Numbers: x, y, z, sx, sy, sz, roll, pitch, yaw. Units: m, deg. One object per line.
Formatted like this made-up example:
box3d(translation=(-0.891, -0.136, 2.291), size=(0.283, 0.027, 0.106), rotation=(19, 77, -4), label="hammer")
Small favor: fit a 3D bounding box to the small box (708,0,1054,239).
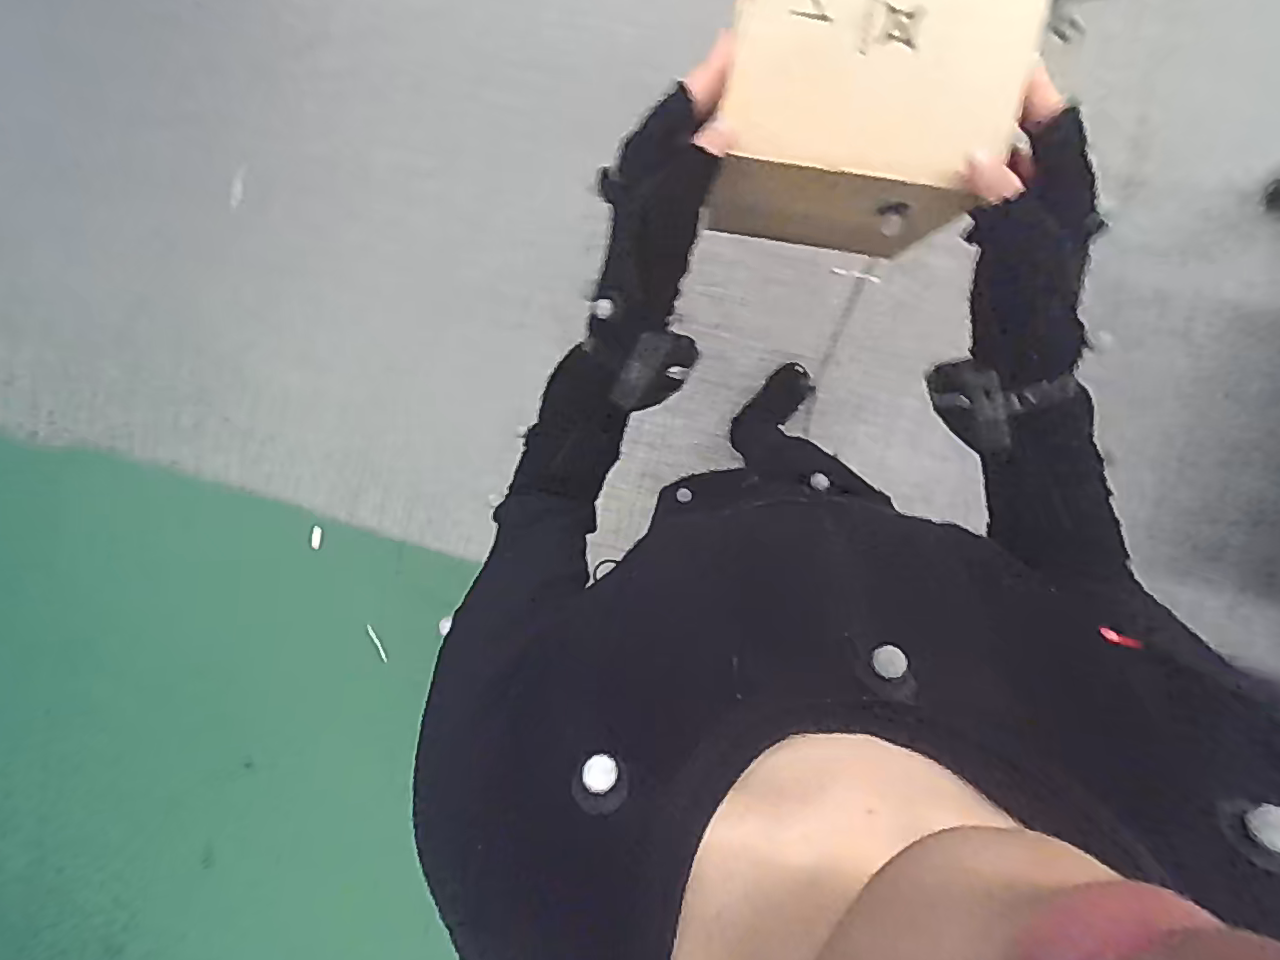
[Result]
box3d(translation=(0.151, -0.286, 0.386), size=(0.179, 0.176, 0.168), rotation=(11, 101, 4), label="small box")
